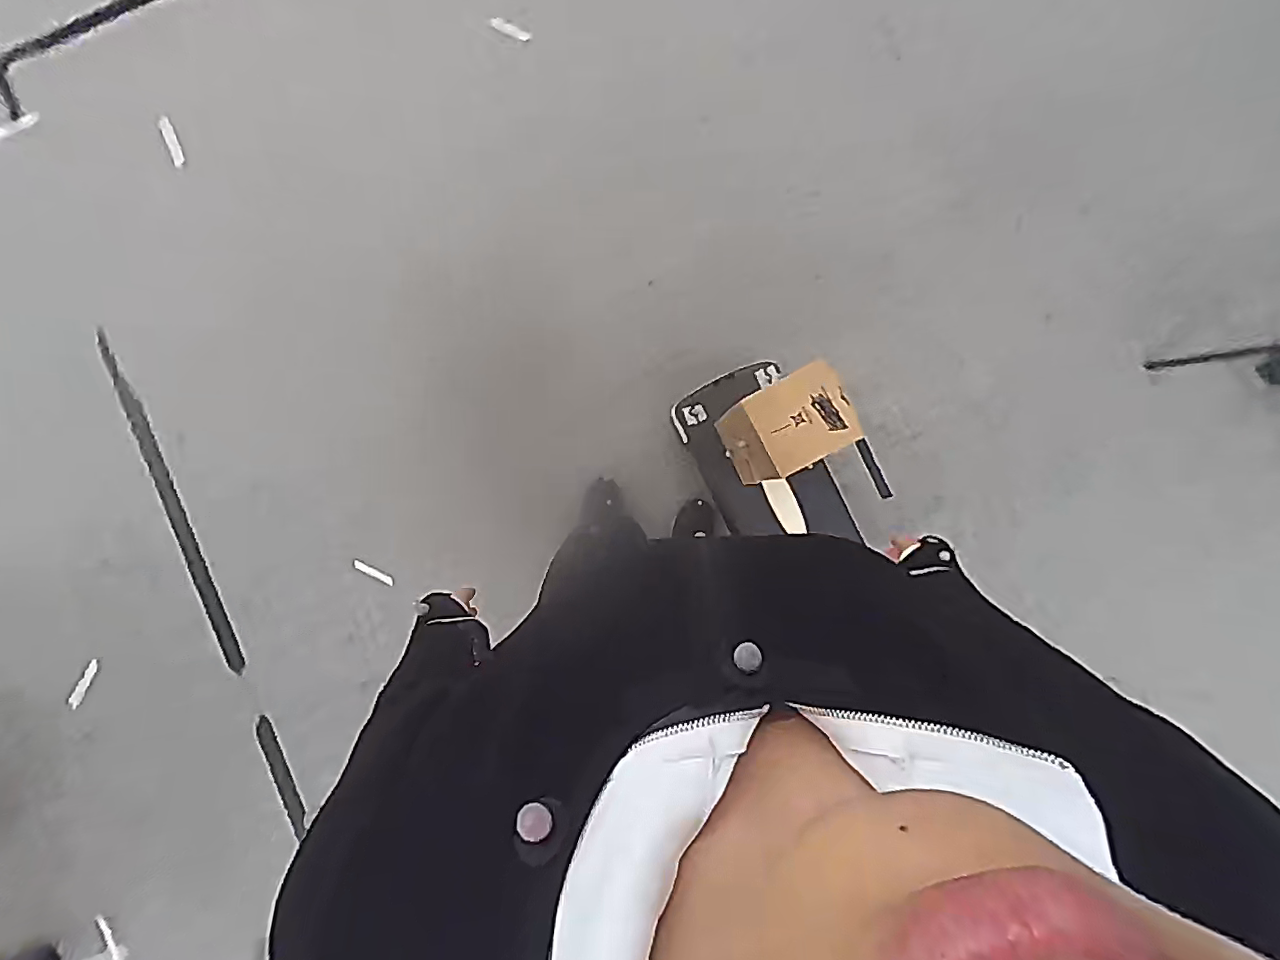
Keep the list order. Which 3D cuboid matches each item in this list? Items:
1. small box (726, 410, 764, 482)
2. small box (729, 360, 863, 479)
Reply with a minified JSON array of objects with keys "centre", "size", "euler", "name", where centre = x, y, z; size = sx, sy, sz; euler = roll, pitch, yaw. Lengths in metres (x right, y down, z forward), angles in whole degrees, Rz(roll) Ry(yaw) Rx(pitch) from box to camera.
[{"centre":[0.293,-0.103,1.232],"size":[0.179,0.176,0.168],"euler":[-26,89,0],"name":"small box"},{"centre":[0.297,-0.111,1.068],"size":[0.179,0.176,0.168],"euler":[-27,89,0],"name":"small box"}]
